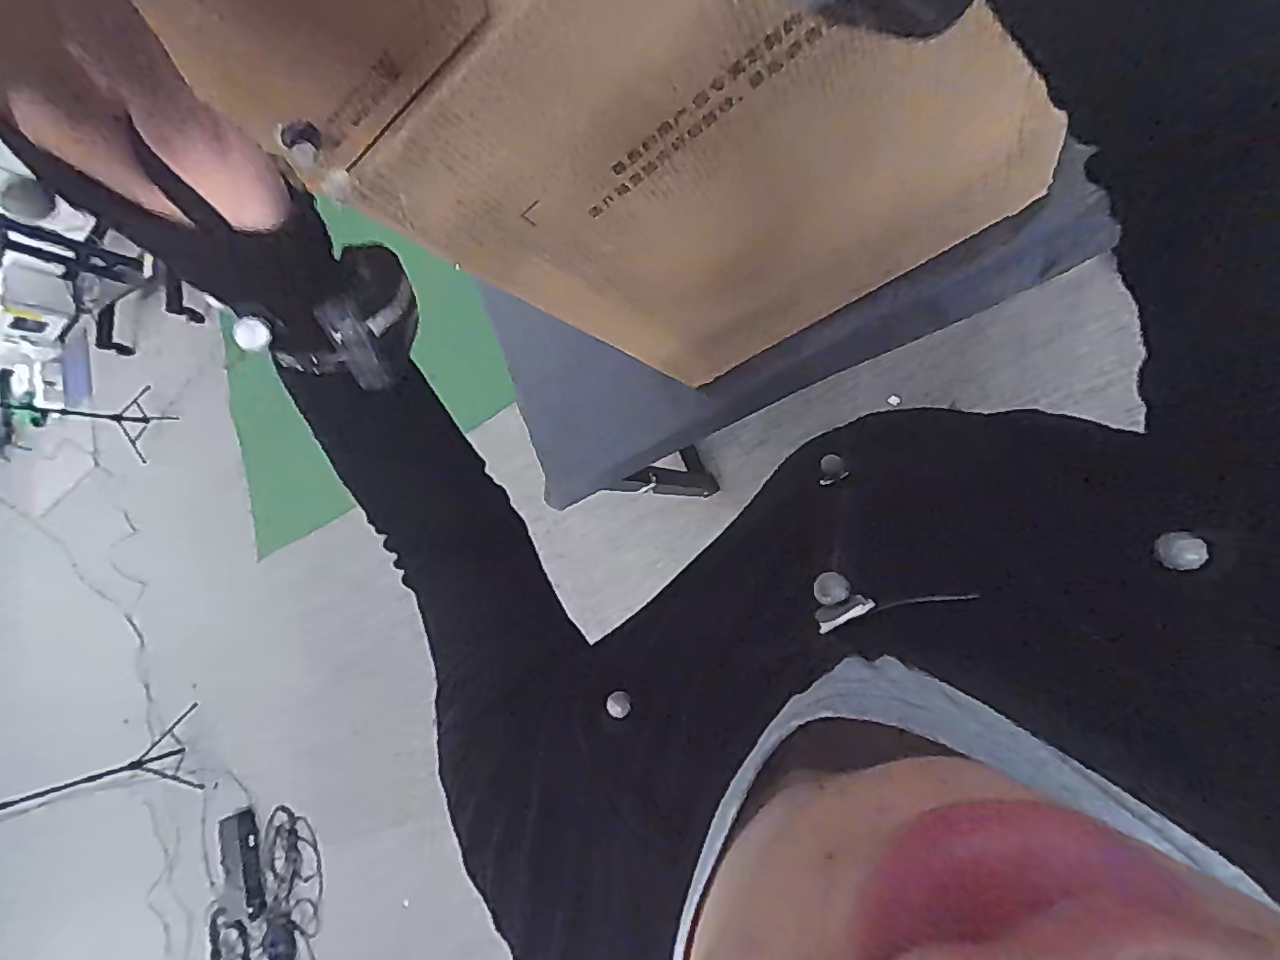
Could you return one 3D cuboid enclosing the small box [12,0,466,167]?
[{"bbox_3d":[-0.218,-0.306,0.285,0.168,0.176,0.179,-25,74,26],"label":"small box"}]
